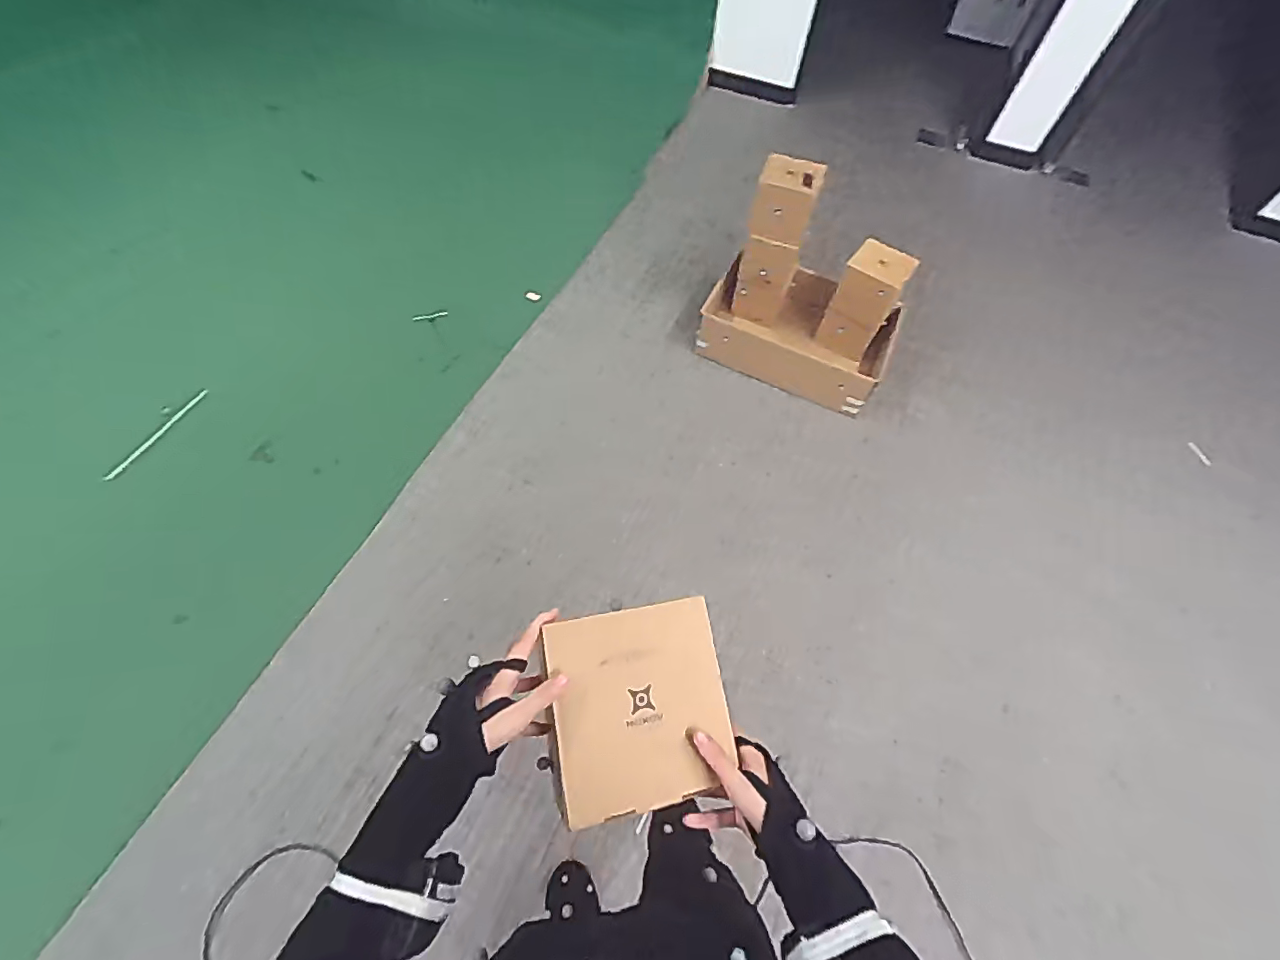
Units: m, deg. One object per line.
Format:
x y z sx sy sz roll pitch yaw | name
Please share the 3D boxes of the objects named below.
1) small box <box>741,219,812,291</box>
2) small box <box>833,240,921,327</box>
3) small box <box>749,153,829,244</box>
0.446 -0.763 1.783 0.168 0.176 0.179 21 63 10 | small box
0.745 -0.619 1.721 0.179 0.176 0.168 34 66 16 | small box
0.448 -0.849 1.643 0.179 0.176 0.168 18 61 9 | small box
